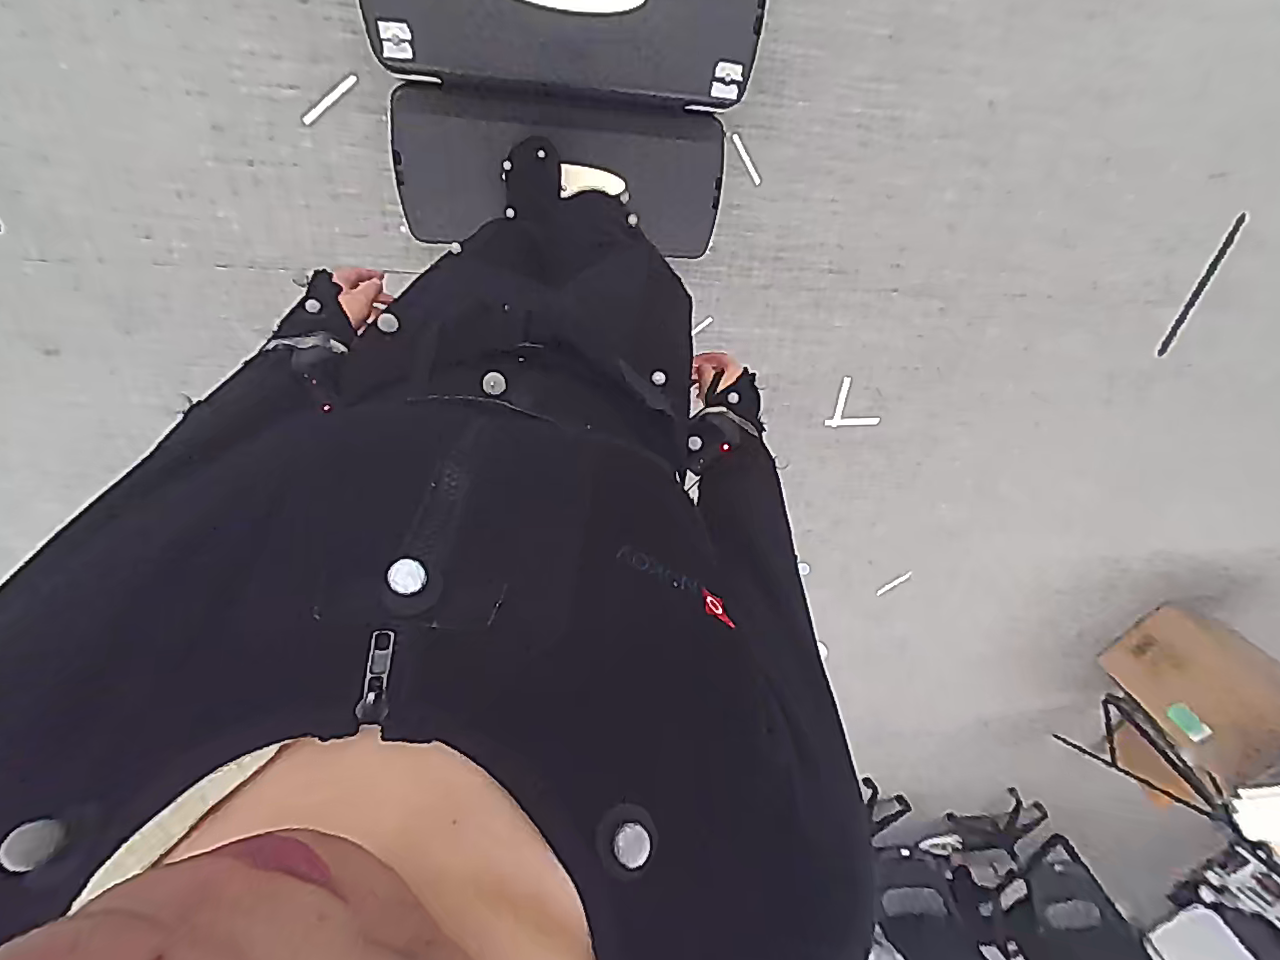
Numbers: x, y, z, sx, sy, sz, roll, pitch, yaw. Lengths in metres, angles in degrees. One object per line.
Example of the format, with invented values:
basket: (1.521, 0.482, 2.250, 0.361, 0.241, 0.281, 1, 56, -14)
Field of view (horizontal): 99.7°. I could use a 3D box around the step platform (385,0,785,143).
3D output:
step platform: (-0.092, -0.826, 0.972, 0.684, 0.204, 0.286, 3, 122, -12)
